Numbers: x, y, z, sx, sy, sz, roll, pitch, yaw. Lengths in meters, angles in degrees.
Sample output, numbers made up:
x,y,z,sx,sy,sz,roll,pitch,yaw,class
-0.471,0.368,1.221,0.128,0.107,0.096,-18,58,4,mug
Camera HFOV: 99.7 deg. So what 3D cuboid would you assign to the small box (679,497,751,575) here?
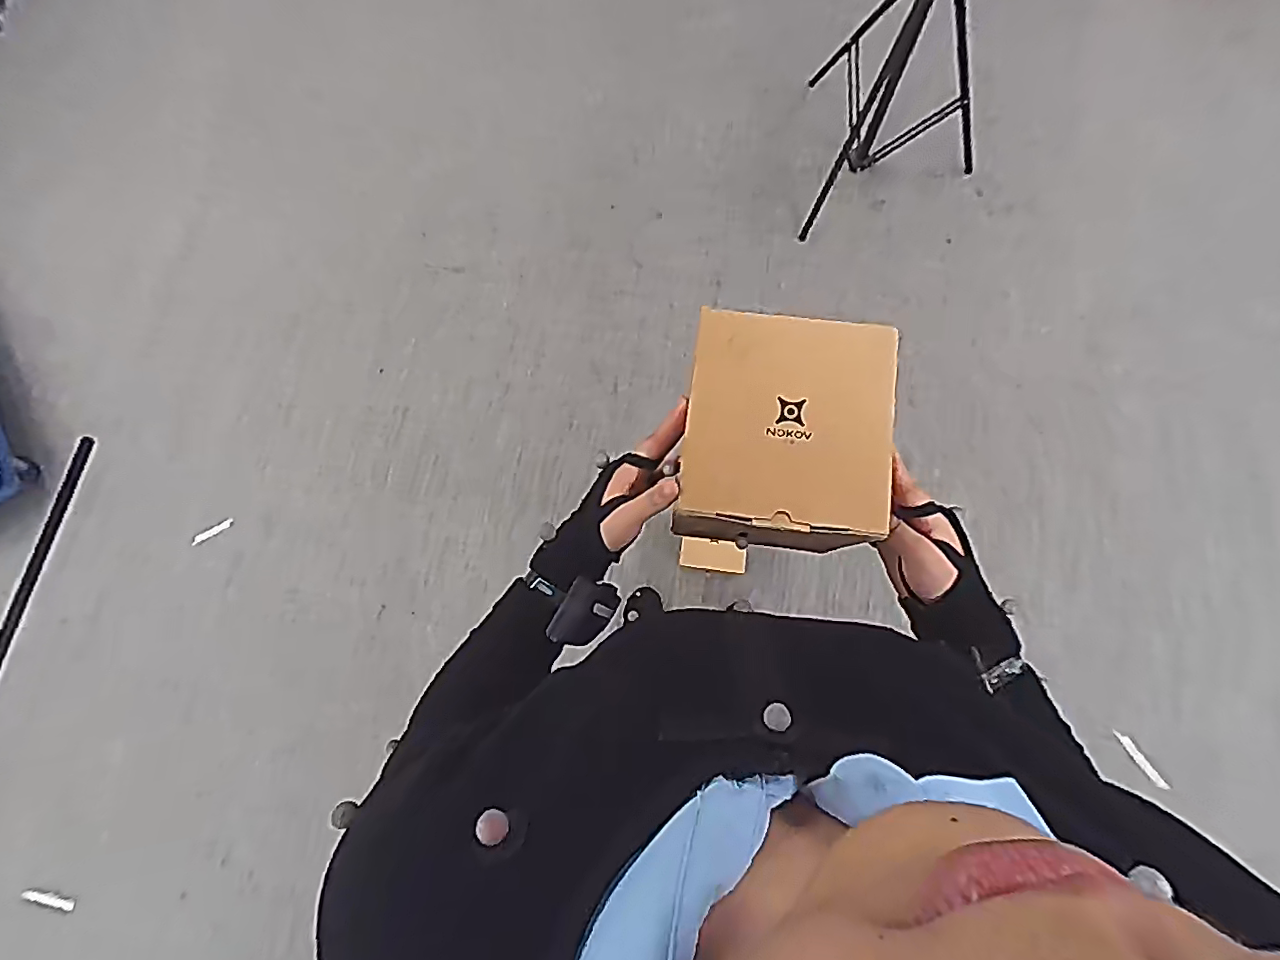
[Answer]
x,y,z,sx,sy,sz,roll,pitch,yaw,class
0.197,0.155,1.443,0.168,0.176,0.179,7,78,5,small box
